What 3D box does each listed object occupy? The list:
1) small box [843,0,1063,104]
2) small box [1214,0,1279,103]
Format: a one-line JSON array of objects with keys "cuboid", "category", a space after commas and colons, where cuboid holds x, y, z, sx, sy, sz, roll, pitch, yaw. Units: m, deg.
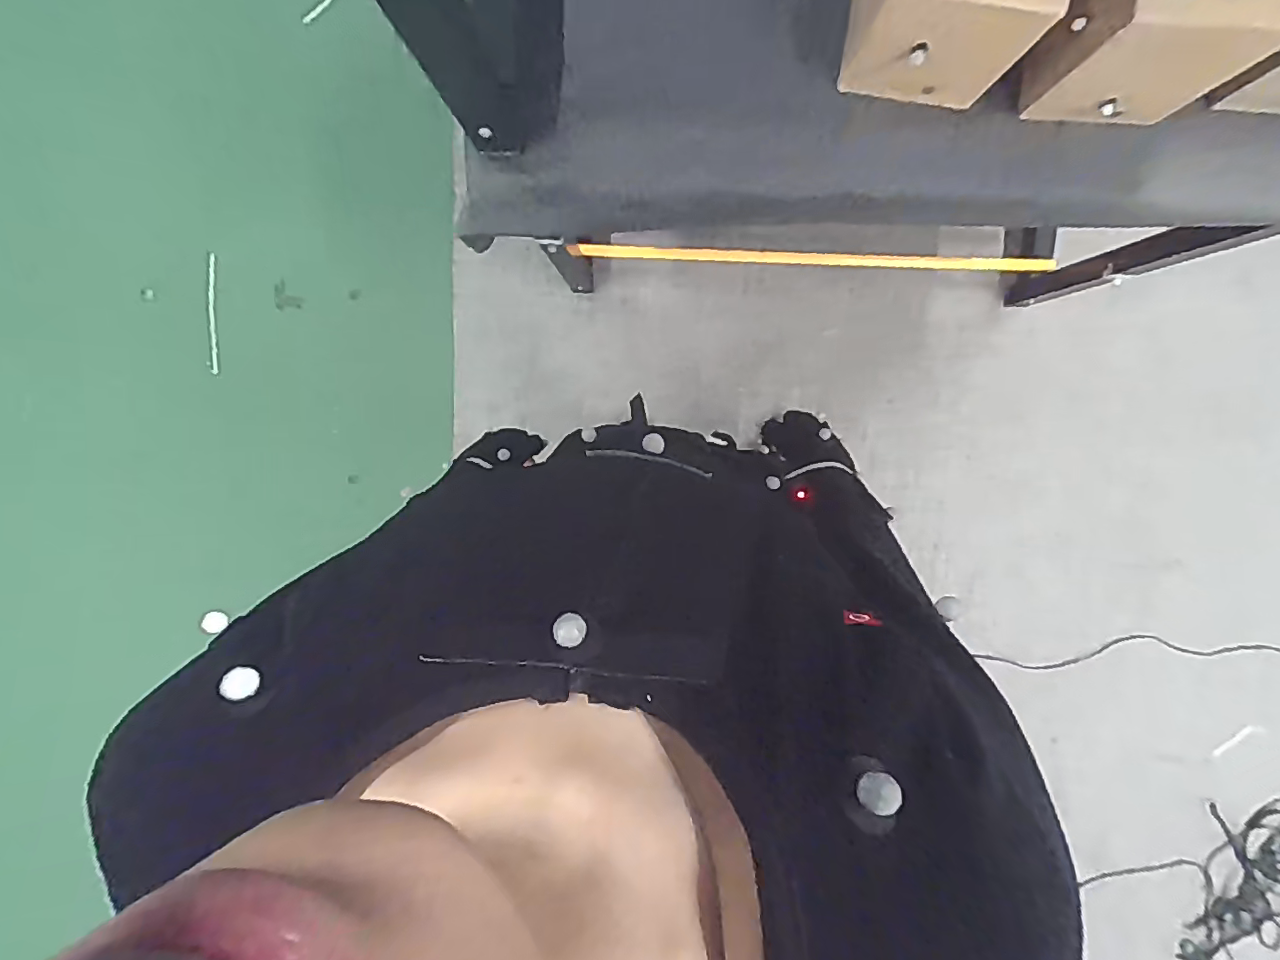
[{"cuboid": [0.335, -0.546, 0.582, 0.168, 0.176, 0.179, 9, 97, 1], "category": "small box"}, {"cuboid": [0.775, -0.524, 0.566, 0.168, 0.176, 0.179, 5, 96, 1], "category": "small box"}]
